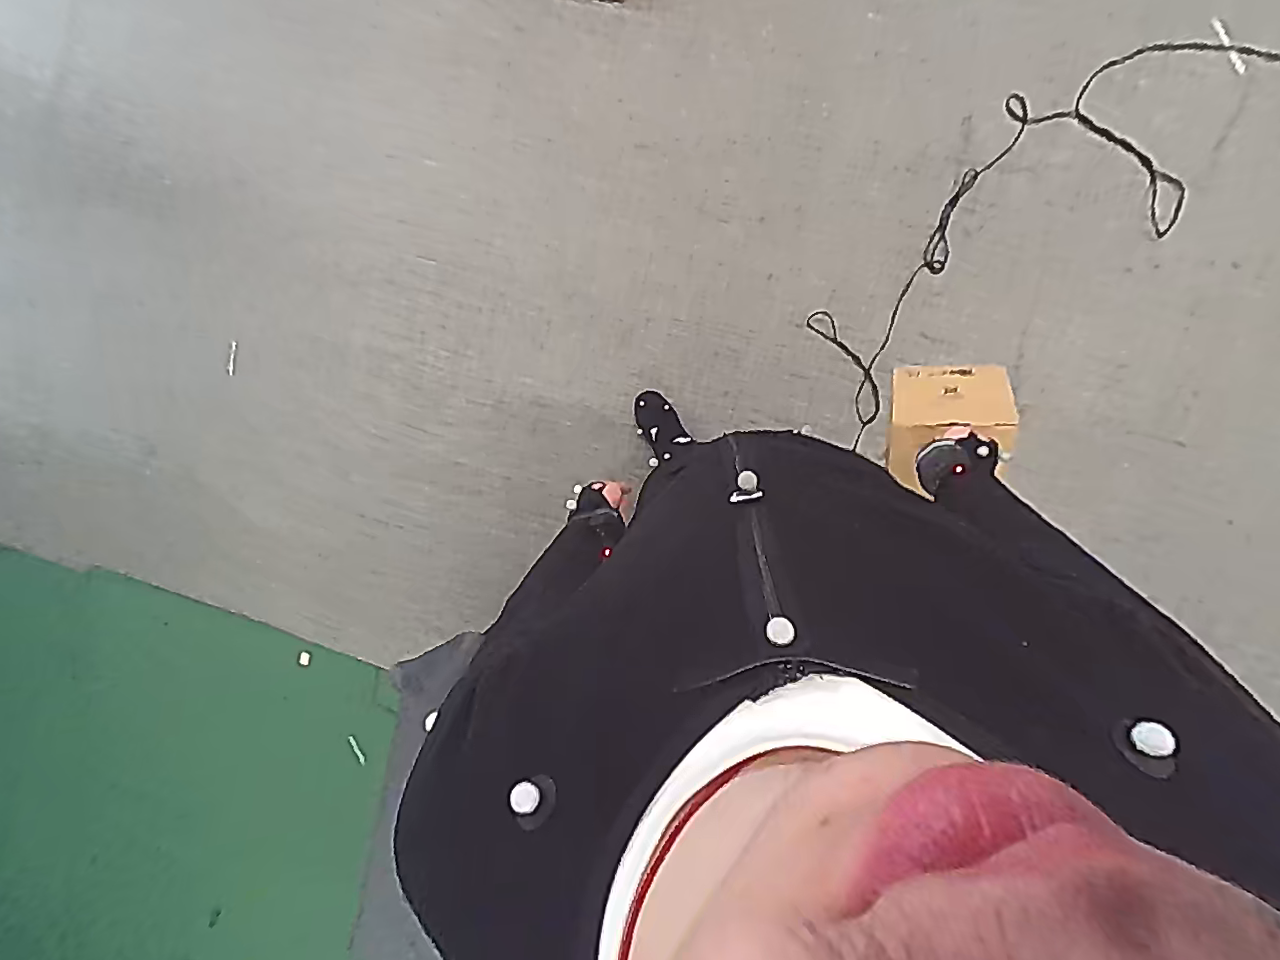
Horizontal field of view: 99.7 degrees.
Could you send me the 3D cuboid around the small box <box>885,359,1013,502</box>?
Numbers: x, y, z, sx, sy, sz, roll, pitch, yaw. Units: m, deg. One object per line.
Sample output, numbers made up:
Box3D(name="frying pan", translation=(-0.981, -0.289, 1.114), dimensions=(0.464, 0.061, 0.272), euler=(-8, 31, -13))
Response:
Box3D(name="small box", translation=(0.500, -0.078, 0.896), dimensions=(0.168, 0.179, 0.176), euler=(1, 131, 24))
